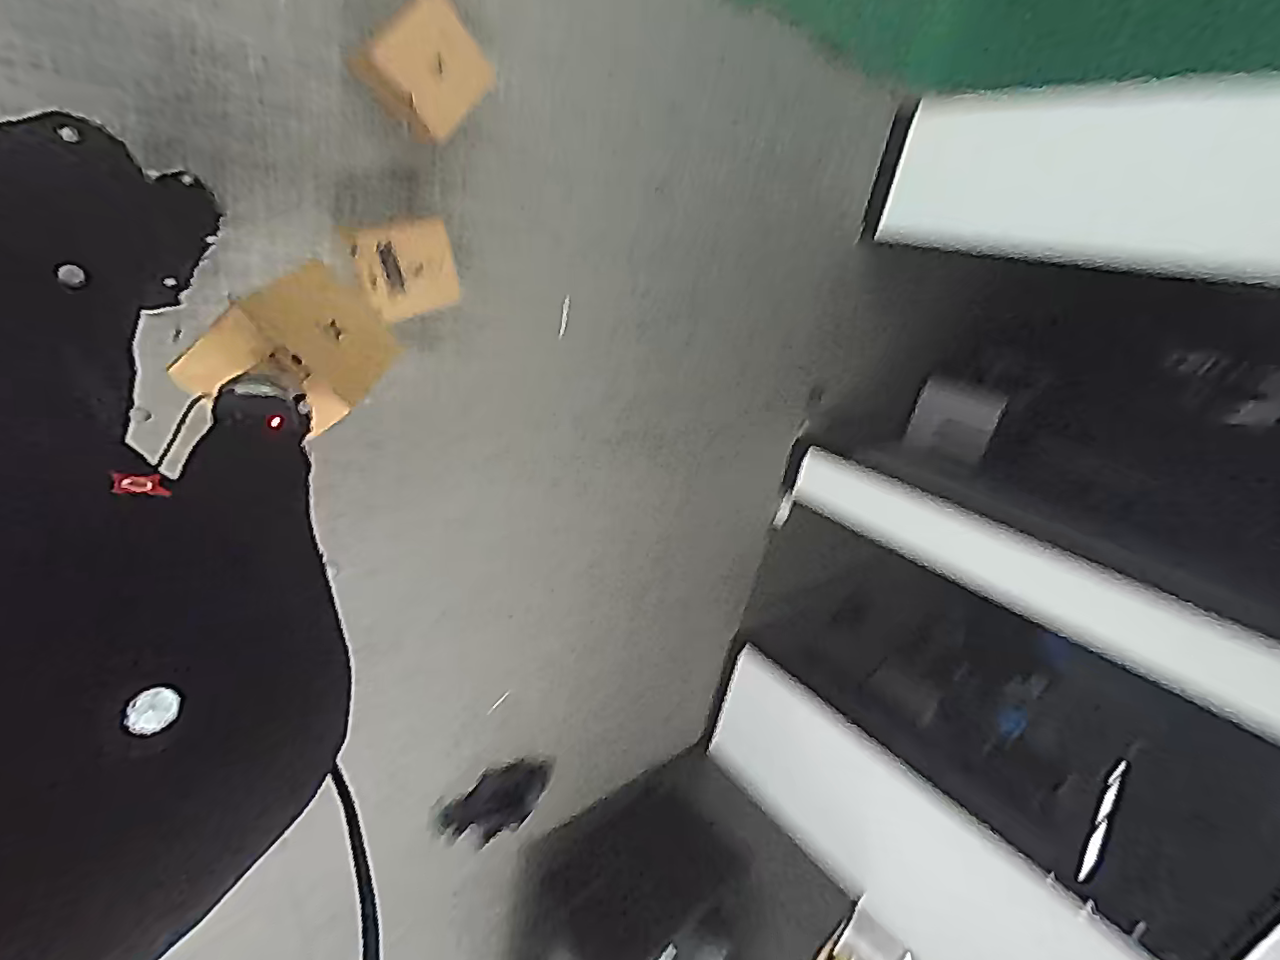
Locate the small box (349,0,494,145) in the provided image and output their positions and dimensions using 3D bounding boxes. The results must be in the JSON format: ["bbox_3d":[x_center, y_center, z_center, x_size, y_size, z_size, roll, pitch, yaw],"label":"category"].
[{"bbox_3d":[-0.421,-0.772,1.030,0.179,0.176,0.168,-54,140,-7],"label":"small box"}]
